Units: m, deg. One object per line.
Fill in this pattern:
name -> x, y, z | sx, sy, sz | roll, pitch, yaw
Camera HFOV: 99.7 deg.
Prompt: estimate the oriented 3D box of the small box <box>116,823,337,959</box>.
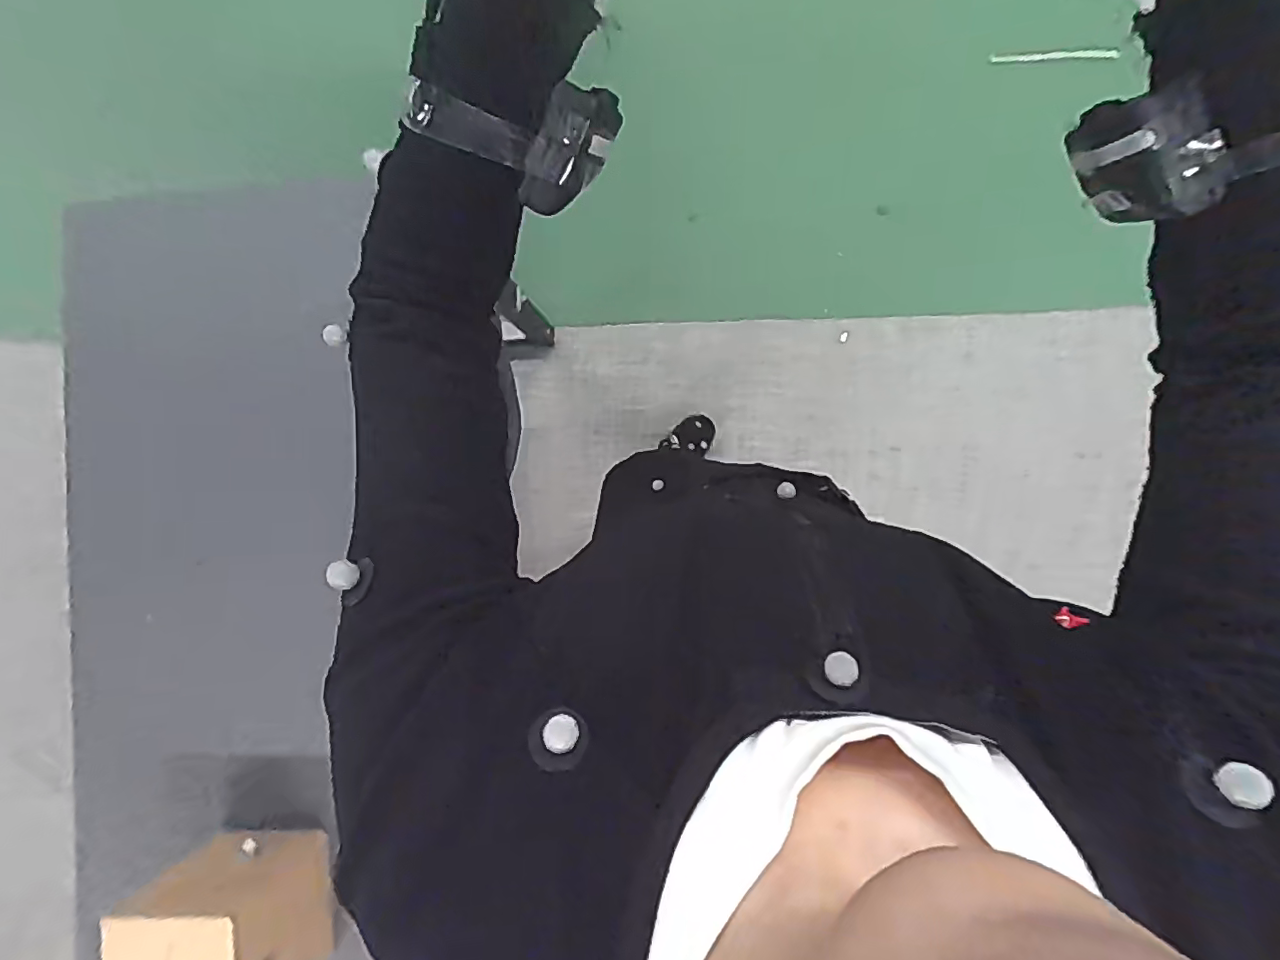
small box -> -0.527, 0.591, 0.712 | 0.168, 0.176, 0.179 | -4, 88, 5
